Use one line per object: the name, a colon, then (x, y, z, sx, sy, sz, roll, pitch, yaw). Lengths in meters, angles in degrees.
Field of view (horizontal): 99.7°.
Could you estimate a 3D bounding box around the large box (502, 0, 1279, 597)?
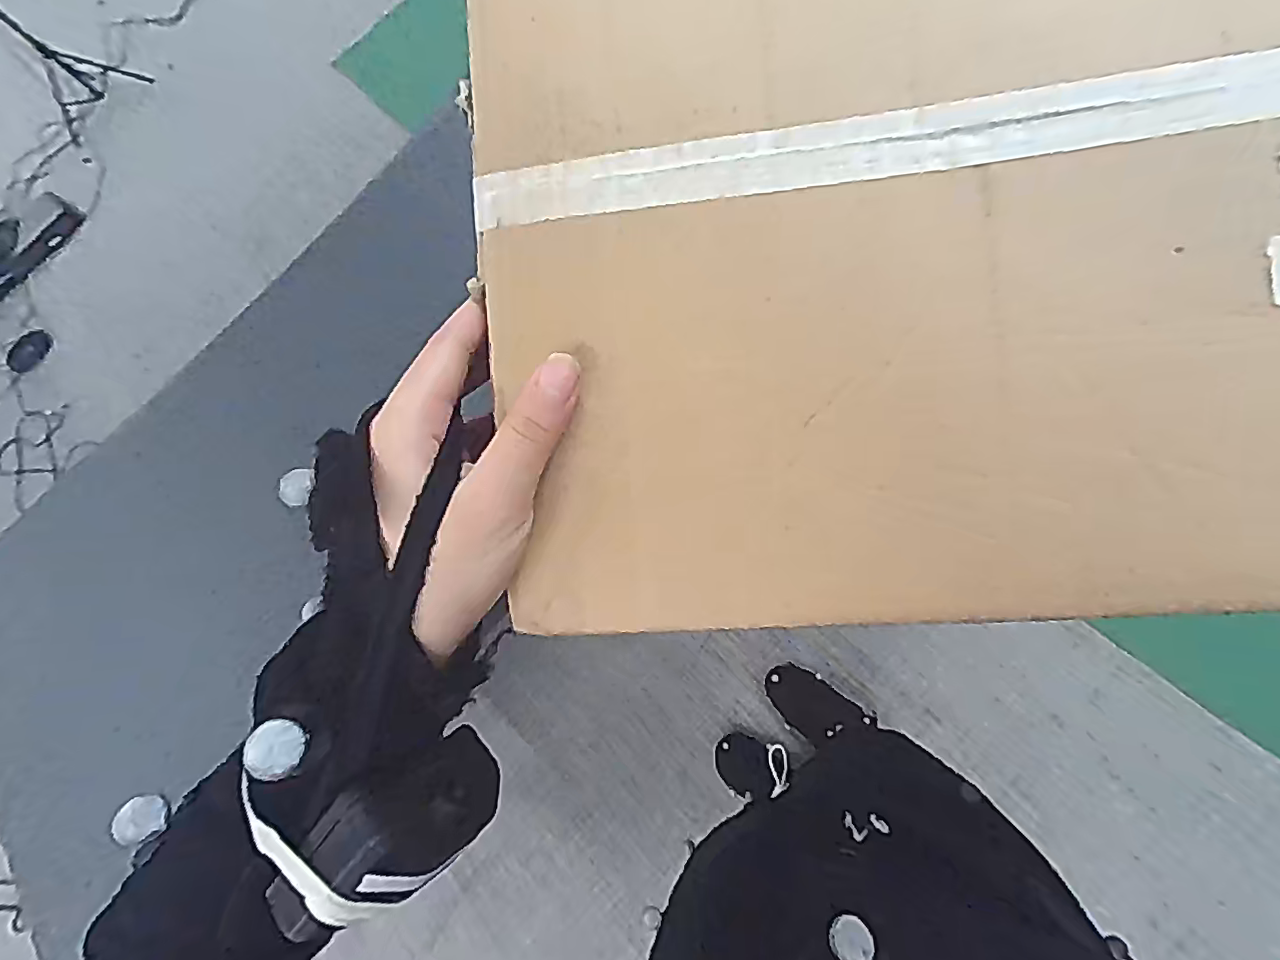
large box: (0.163, -0.117, 0.336, 0.408, 0.320, 0.320, -4, 88, 7)
